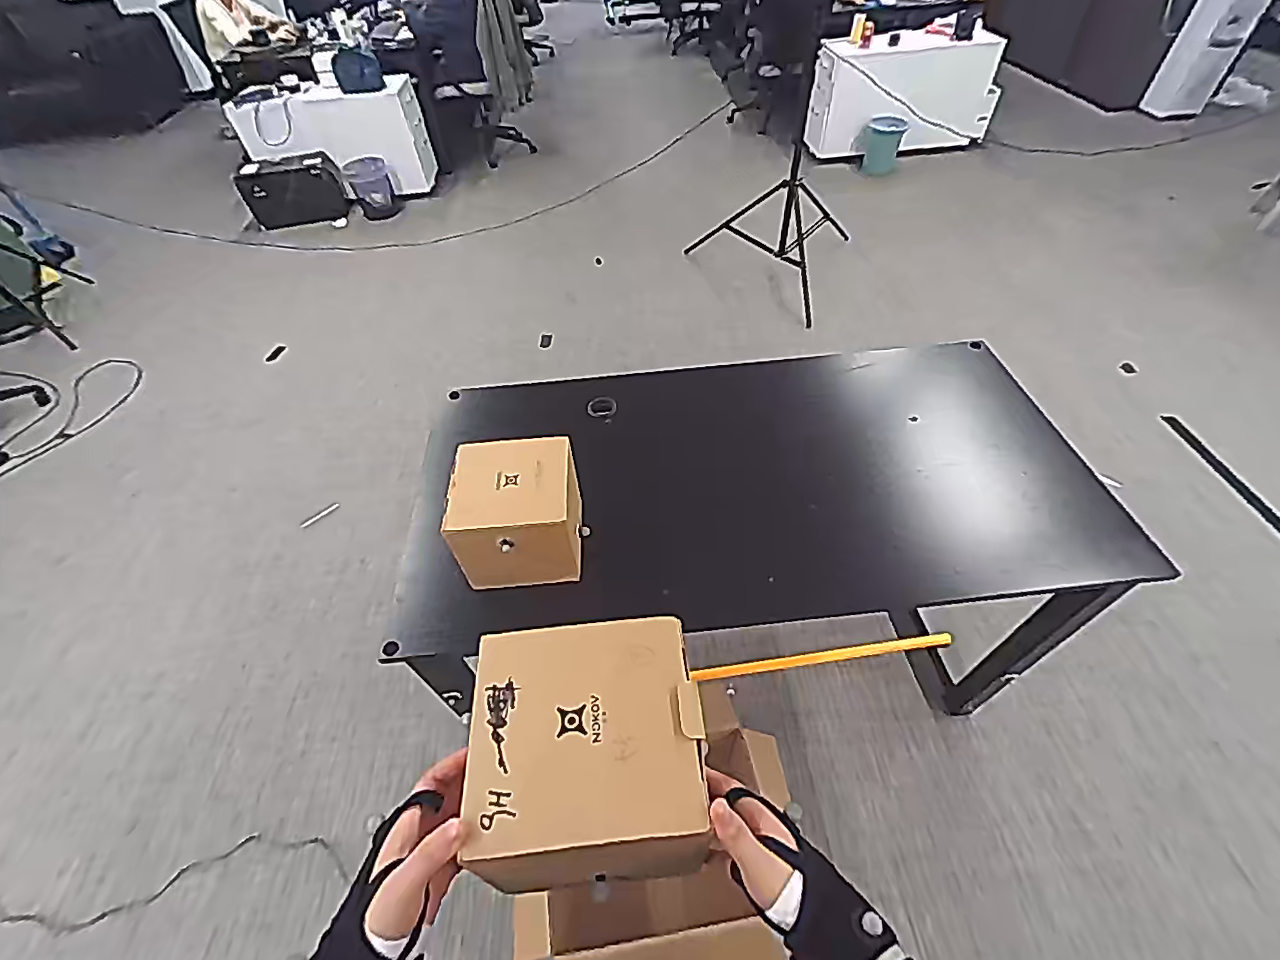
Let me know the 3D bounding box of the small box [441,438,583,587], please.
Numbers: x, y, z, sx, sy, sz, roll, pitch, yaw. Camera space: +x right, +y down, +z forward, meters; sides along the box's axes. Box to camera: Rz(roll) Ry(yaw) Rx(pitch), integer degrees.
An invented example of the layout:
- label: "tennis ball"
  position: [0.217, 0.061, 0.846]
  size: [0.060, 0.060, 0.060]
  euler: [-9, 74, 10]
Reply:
- label: "small box"
  position: [-0.188, 0.056, 0.847]
  size: [0.179, 0.176, 0.168]
  euler: [-5, 50, -2]
